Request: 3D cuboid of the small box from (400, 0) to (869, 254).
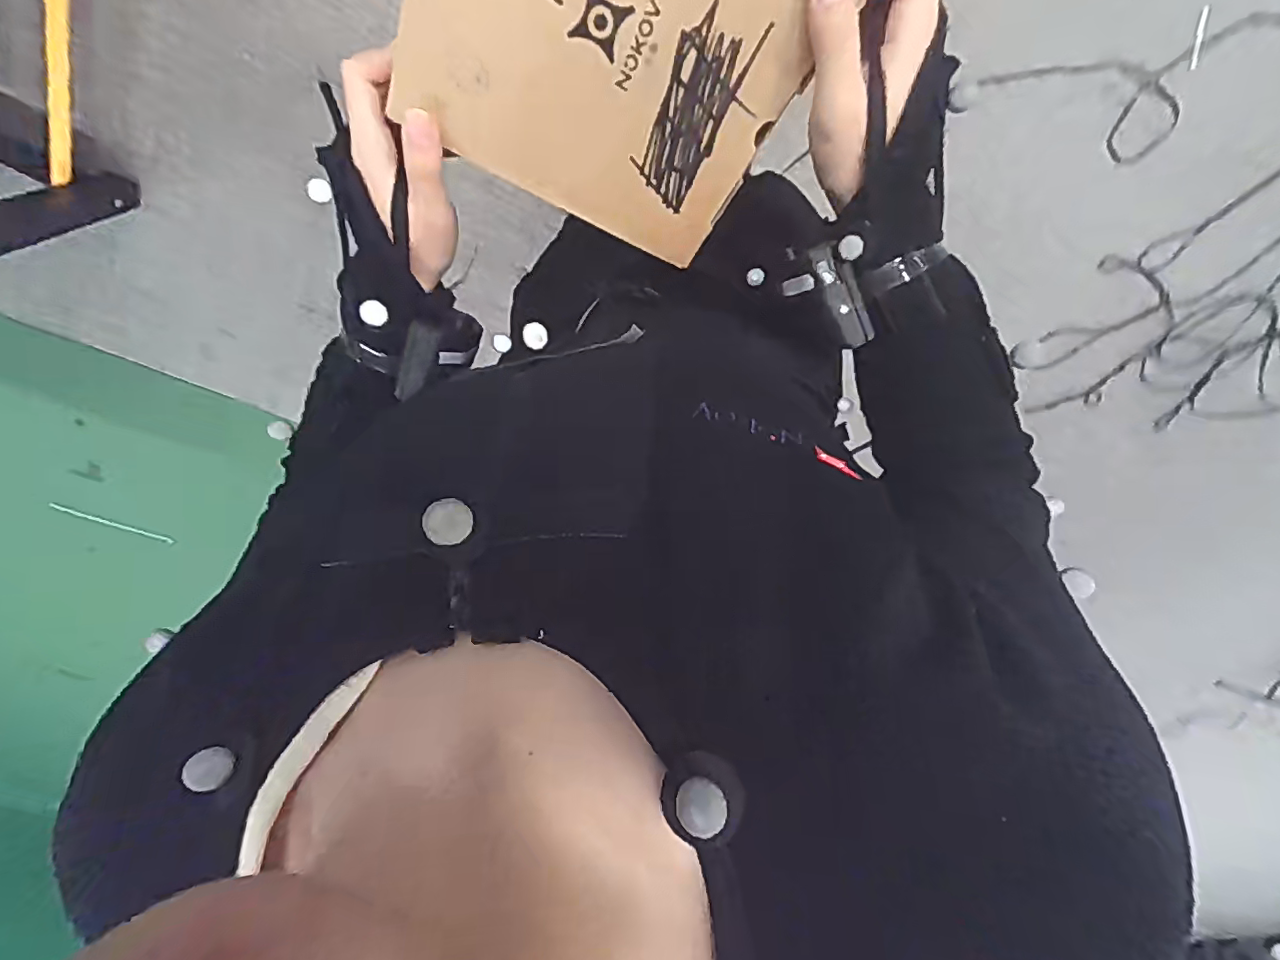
[{"bbox_3d":[-0.004,-0.270,0.294,0.179,0.176,0.168,20,138,-23],"label":"small box"}]
